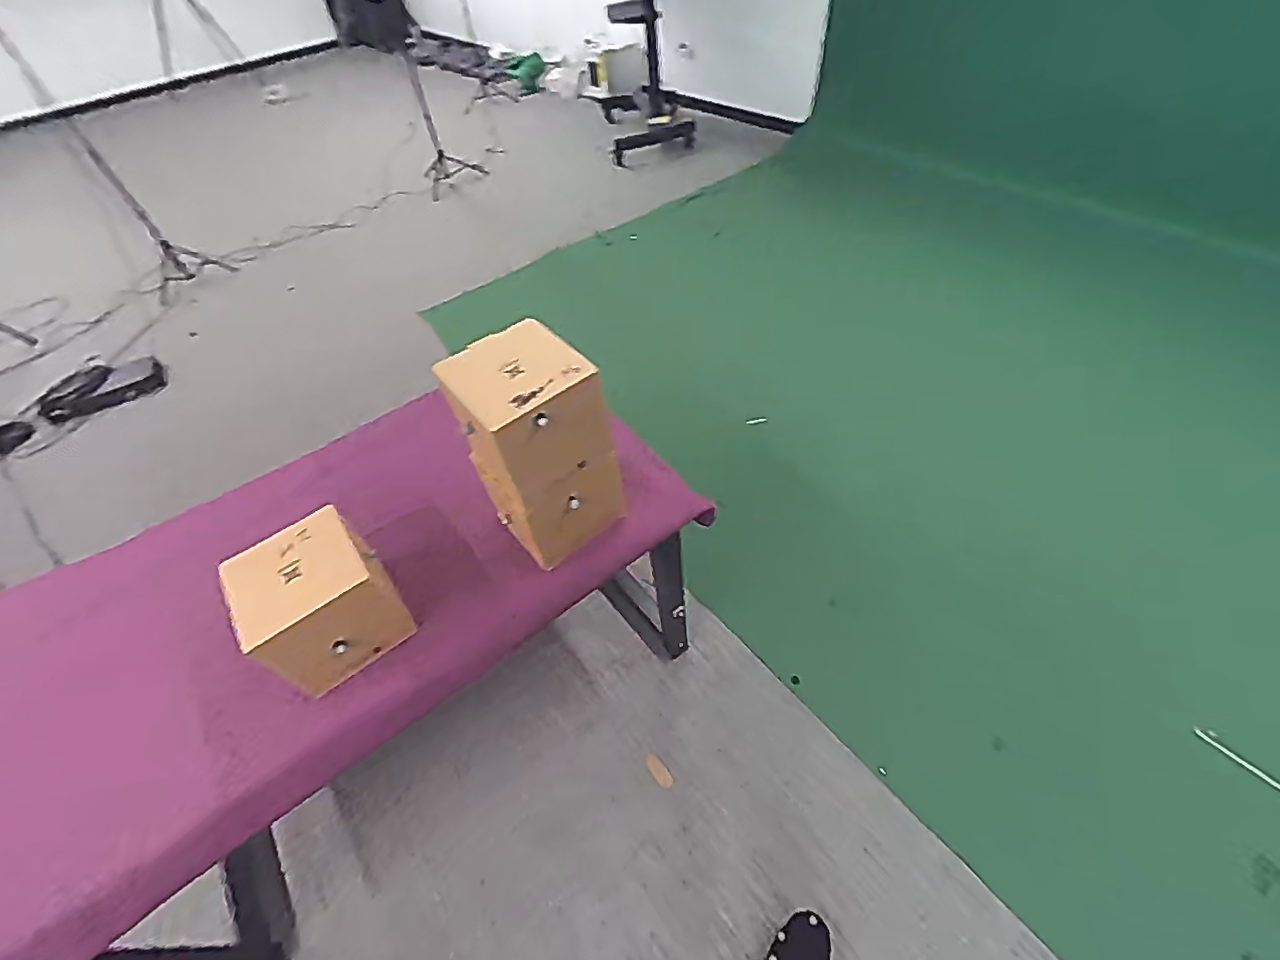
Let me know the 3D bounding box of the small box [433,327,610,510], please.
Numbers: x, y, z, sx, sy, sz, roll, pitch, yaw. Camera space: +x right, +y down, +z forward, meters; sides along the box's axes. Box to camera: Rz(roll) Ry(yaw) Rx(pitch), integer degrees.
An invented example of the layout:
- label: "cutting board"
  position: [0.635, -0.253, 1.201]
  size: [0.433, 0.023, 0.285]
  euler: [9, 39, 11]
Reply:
- label: "small box"
  position: [-0.166, -0.088, 0.794]
  size: [0.168, 0.176, 0.179]
  euler: [-37, 54, -19]

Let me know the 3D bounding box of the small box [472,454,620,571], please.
- label: "small box"
  position: [-0.148, 0.018, 0.918]
  size: [0.179, 0.176, 0.168]
  euler: [-37, 55, -19]

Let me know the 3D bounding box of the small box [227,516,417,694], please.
- label: "small box"
  position: [-0.469, 0.195, 0.815]
  size: [0.168, 0.176, 0.179]
  euler: [-34, 52, -20]
